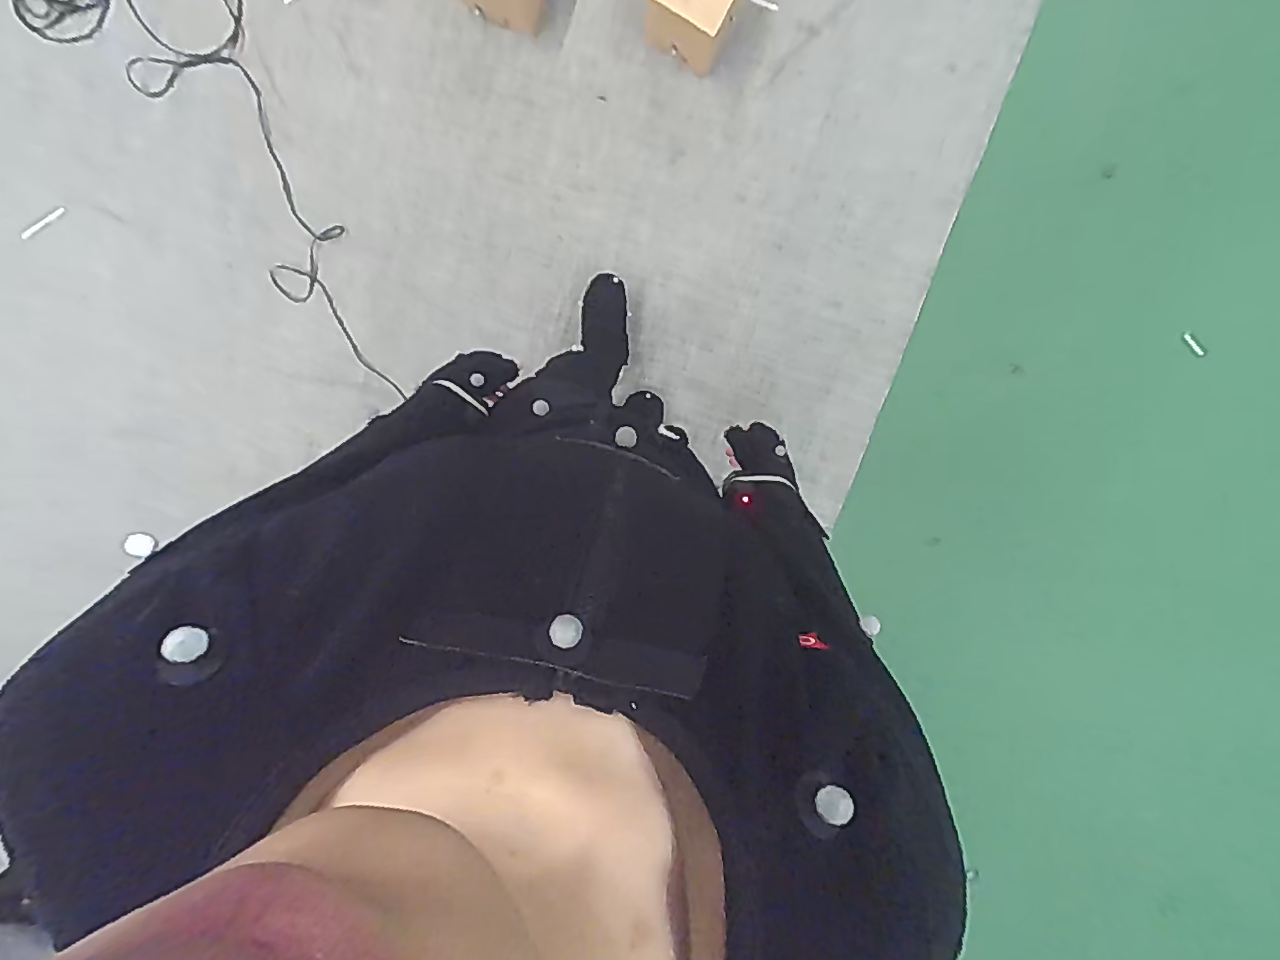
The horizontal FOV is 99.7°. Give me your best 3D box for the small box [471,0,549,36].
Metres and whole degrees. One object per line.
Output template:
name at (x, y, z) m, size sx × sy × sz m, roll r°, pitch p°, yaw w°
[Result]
small box at (-0.289, -1.134, 1.182) m, size 0.168 × 0.176 × 0.179 m, roll 21°, pitch 100°, yaw -2°
